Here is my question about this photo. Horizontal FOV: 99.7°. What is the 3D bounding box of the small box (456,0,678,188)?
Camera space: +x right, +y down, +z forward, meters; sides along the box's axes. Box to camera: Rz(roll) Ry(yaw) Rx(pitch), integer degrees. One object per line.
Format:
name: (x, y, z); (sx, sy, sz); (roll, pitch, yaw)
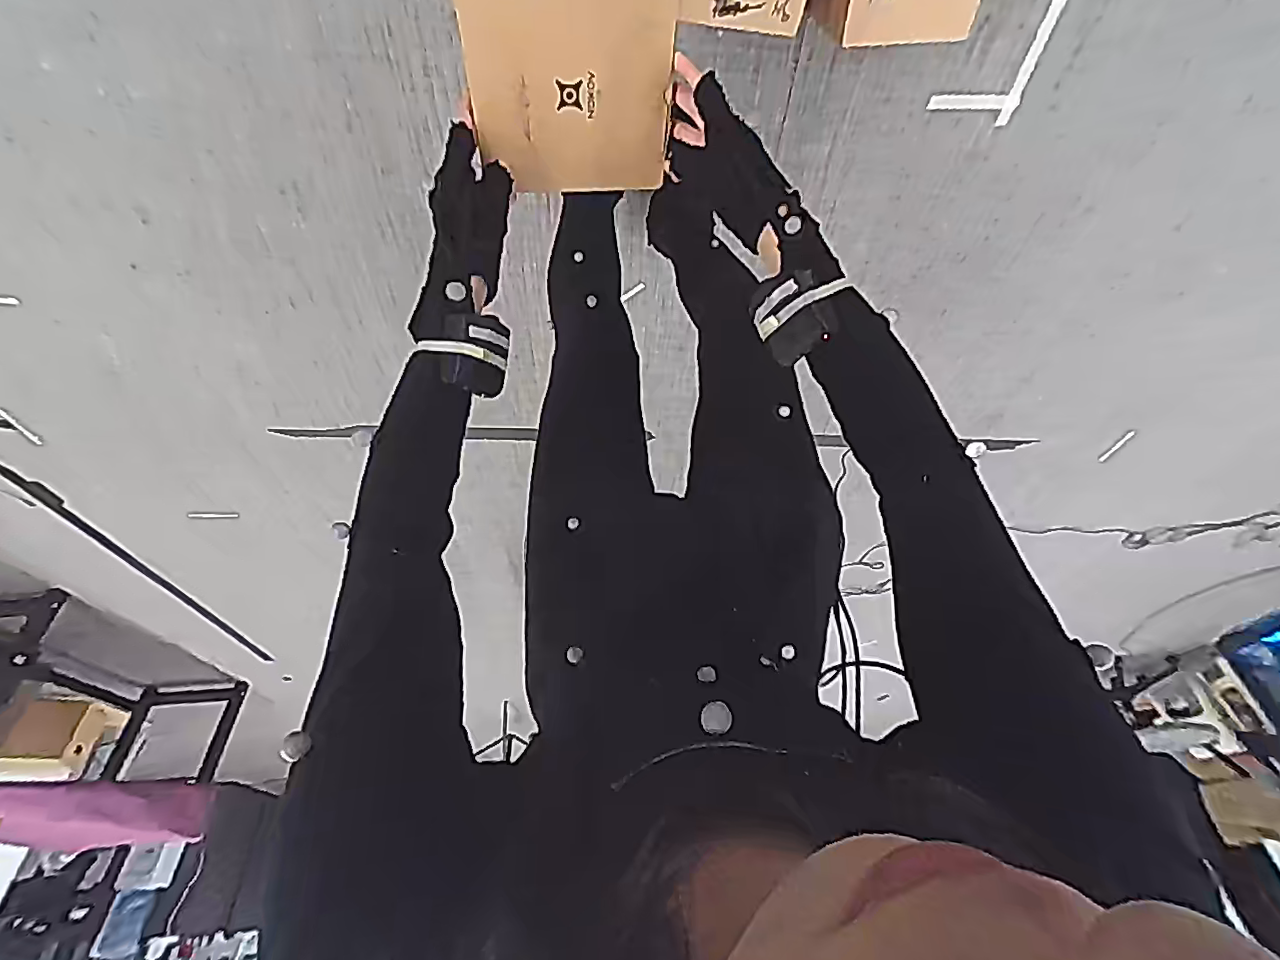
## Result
small box: (-0.073, -0.404, 0.515); (0.179, 0.176, 0.168); (-5, 145, -9)

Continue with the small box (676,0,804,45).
small box: (0.131, -0.705, 0.700); (0.168, 0.176, 0.179); (3, 141, -7)

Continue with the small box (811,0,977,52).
small box: (0.345, -0.698, 0.723); (0.179, 0.176, 0.168); (-3, 142, -1)
